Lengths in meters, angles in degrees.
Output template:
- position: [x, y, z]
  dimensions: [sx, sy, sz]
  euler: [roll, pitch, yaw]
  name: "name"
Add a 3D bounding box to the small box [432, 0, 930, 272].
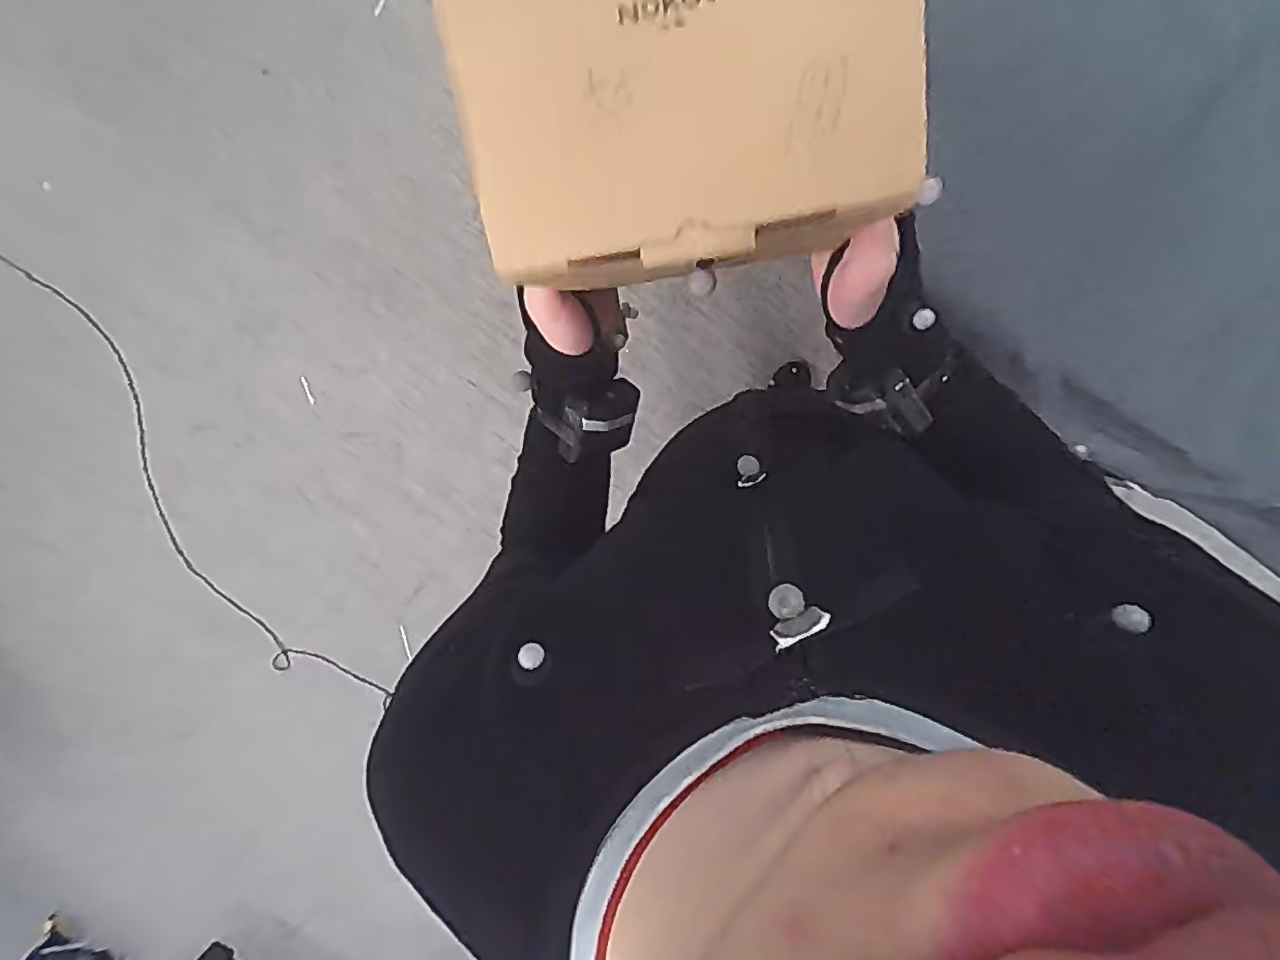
- position: [0.016, -0.200, 0.251]
  dimensions: [0.168, 0.176, 0.179]
  euler: [-8, 107, 7]
  name: "small box"
